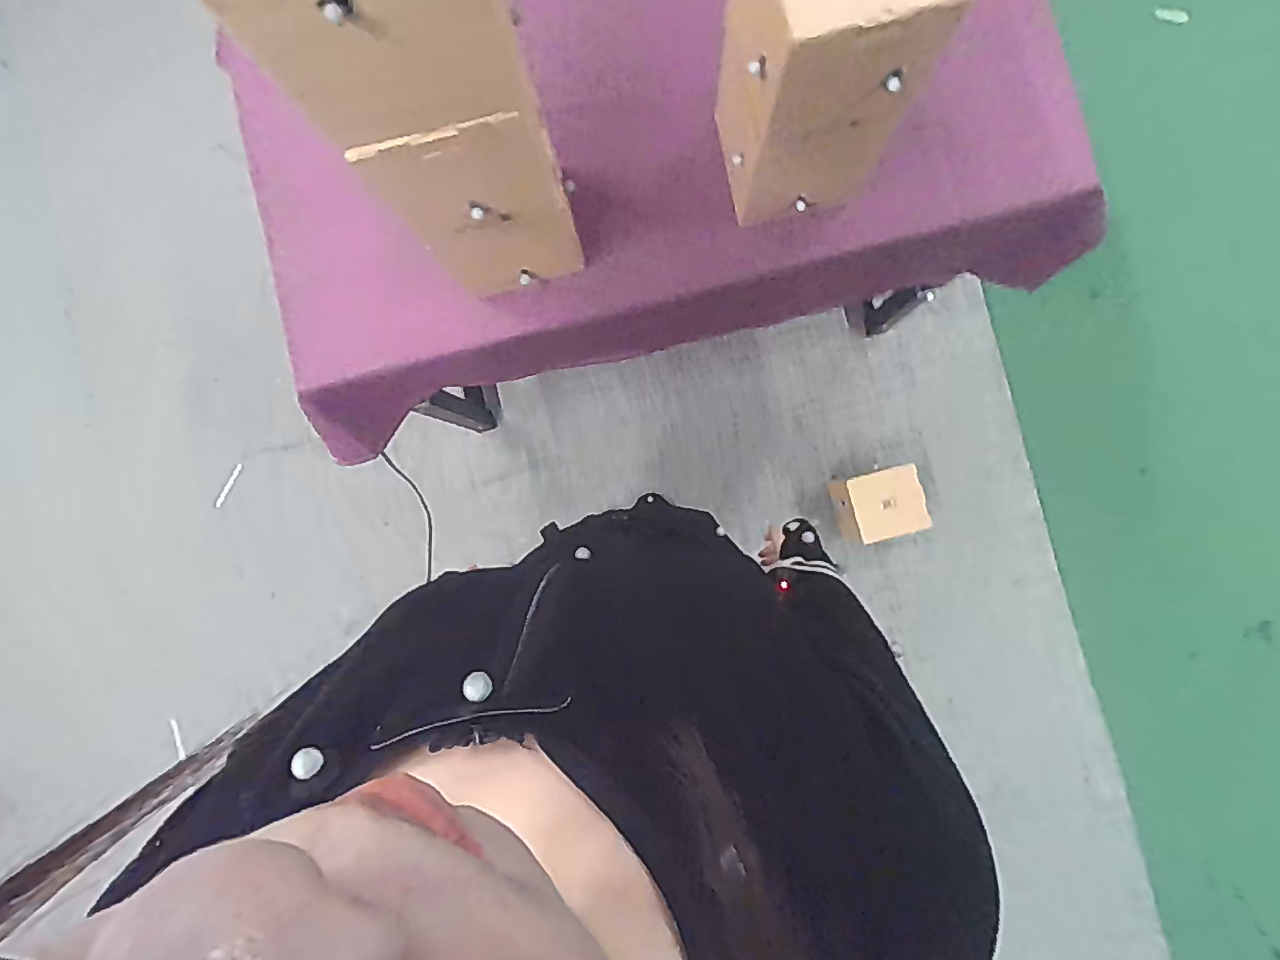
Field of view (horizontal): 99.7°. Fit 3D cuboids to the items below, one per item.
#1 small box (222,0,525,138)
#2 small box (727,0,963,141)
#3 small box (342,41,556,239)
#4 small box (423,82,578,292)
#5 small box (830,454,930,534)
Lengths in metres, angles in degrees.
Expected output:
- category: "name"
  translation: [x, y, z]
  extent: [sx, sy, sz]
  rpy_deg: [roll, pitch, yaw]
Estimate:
- category: "small box"
  translation: [-0.202, -0.393, 0.398]
  extent: [0.179, 0.176, 0.168]
  rpy_deg: [-12, 88, 2]
- category: "small box"
  translation: [0.192, -0.480, 0.546]
  extent: [0.168, 0.176, 0.179]
  rpy_deg: [-14, 88, 2]
- category: "small box"
  translation: [-0.198, -0.387, 0.562]
  extent: [0.168, 0.176, 0.179]
  rpy_deg: [-14, 88, 3]
- category: "small box"
  translation: [-0.189, -0.378, 0.728]
  extent: [0.179, 0.176, 0.168]
  rpy_deg: [-15, 88, 2]
- category: "small box"
  translation: [0.612, 0.037, 1.410]
  extent: [0.179, 0.176, 0.168]
  rpy_deg: [-16, 89, 2]
